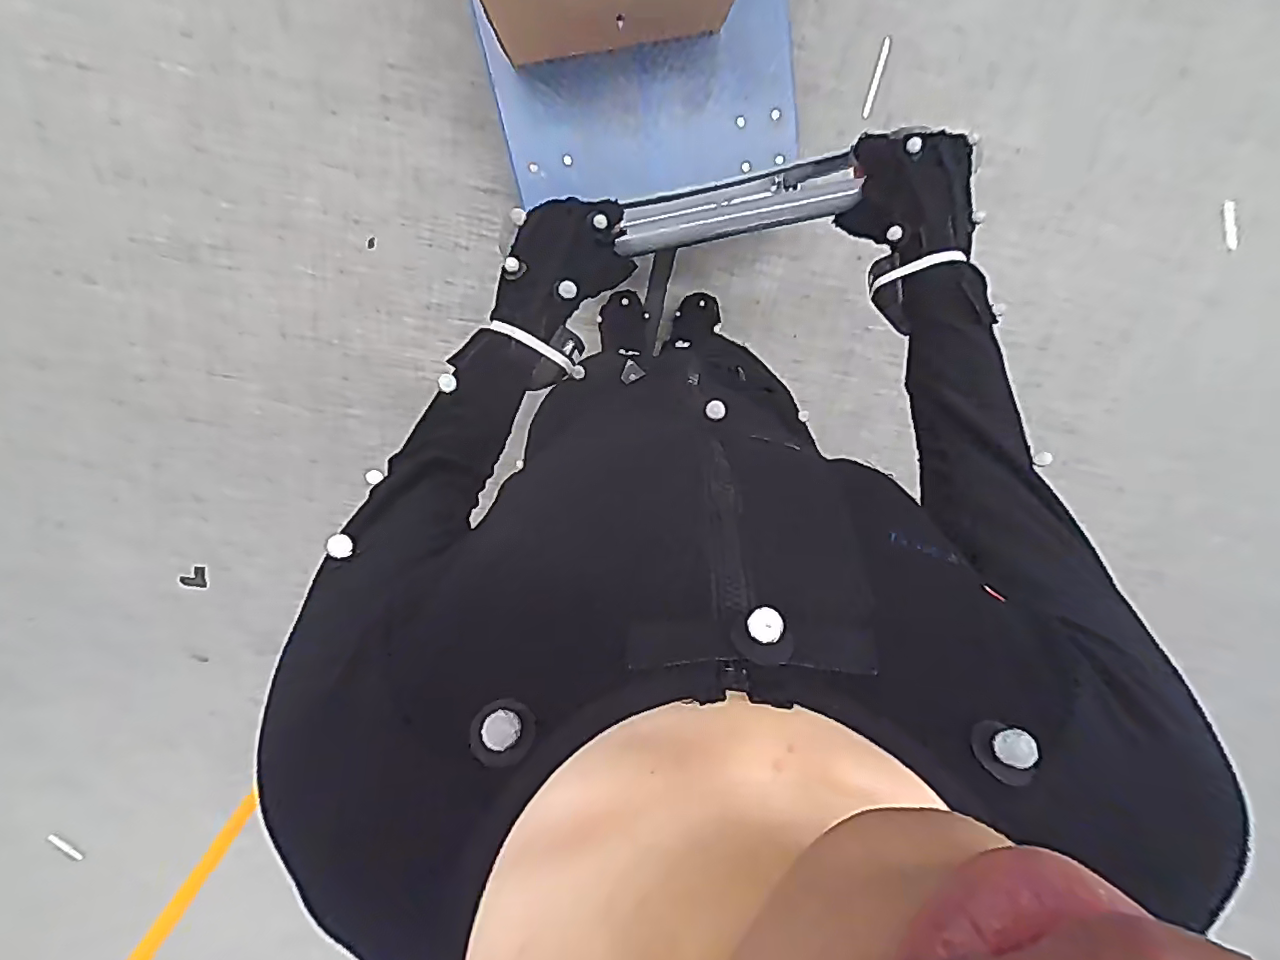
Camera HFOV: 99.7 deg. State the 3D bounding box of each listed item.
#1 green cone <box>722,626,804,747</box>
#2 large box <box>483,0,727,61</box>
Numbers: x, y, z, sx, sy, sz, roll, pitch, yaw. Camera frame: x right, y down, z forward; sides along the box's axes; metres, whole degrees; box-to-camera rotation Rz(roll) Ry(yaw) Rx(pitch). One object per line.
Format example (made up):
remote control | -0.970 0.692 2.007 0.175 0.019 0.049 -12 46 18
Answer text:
green cone | 0.396 0.630 1.595 0.202 0.368 0.200 13 109 -10
large box | -0.062 -0.906 0.825 0.408 0.320 0.320 -10 112 1
